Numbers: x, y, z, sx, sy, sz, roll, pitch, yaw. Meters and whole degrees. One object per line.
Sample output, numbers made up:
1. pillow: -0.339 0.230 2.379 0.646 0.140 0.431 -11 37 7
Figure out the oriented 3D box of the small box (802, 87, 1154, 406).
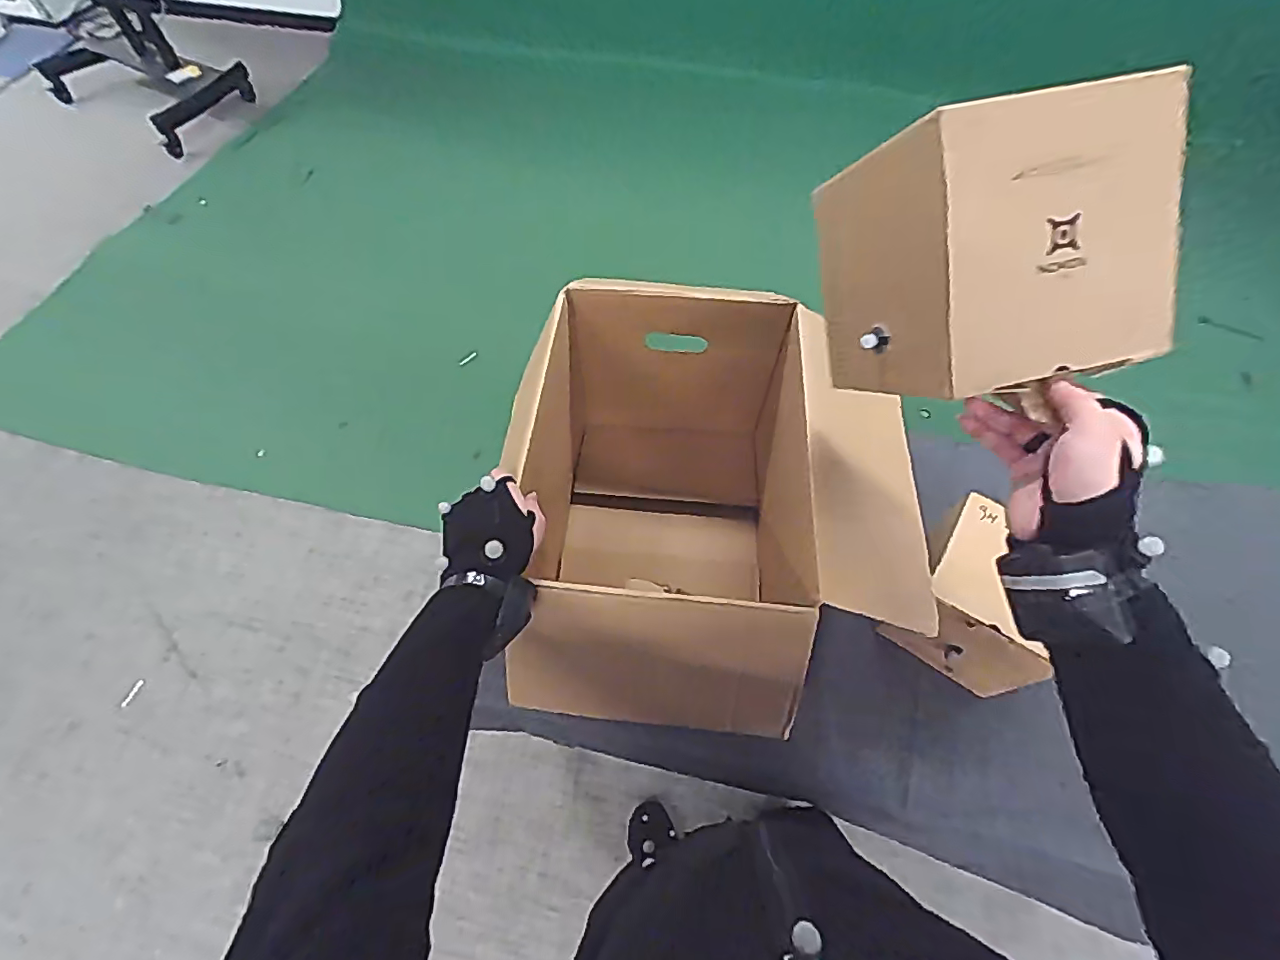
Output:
1. small box: 0.248 -0.166 0.431 0.168 0.176 0.179 -14 103 -7
